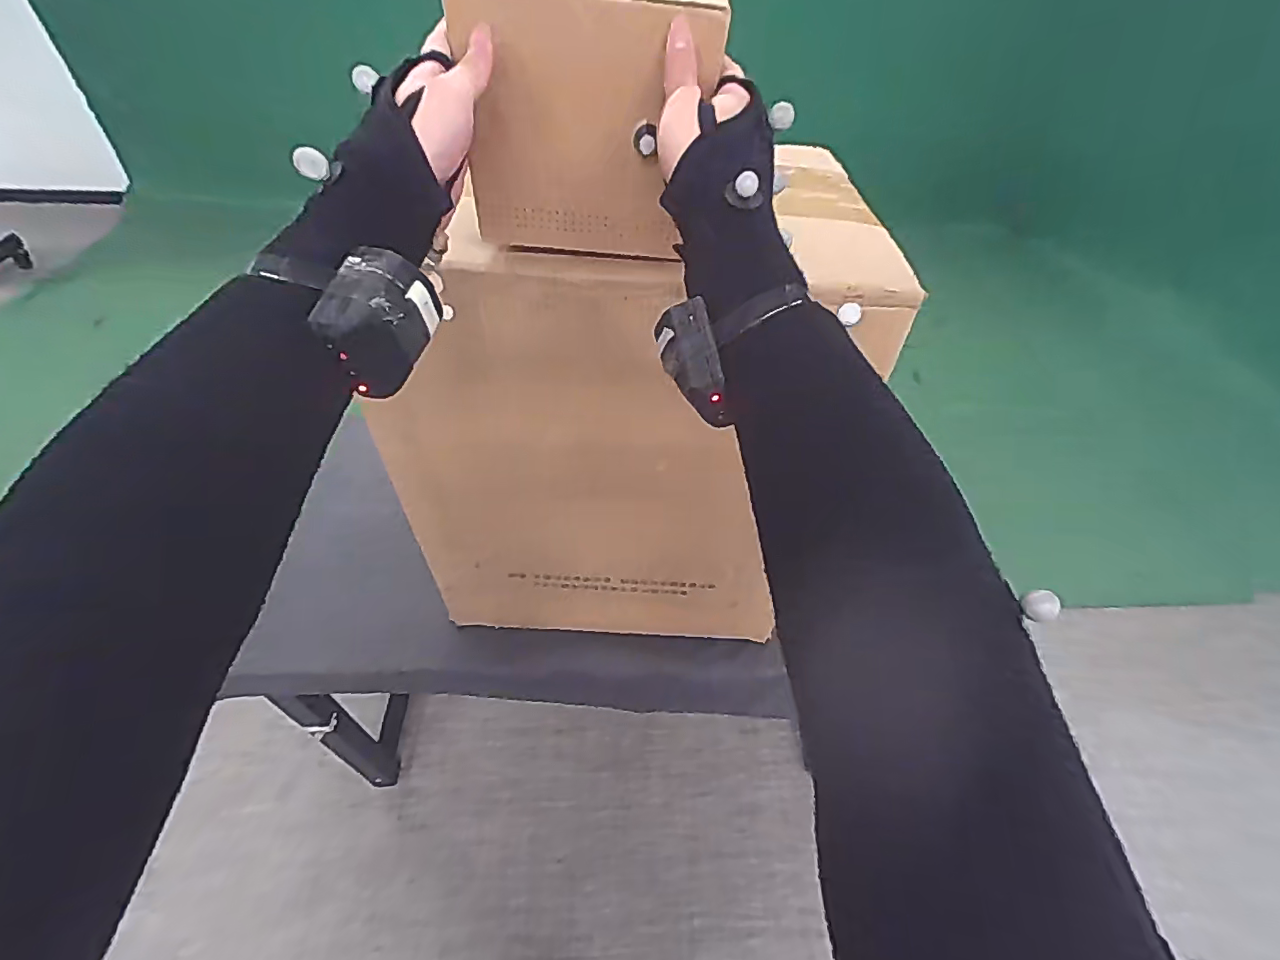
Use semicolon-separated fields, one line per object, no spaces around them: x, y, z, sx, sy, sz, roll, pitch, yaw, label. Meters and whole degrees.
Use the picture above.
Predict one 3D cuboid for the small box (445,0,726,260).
-0.037;-0.302;0.442;0.179;0.176;0.168;3;52;-3;small box
